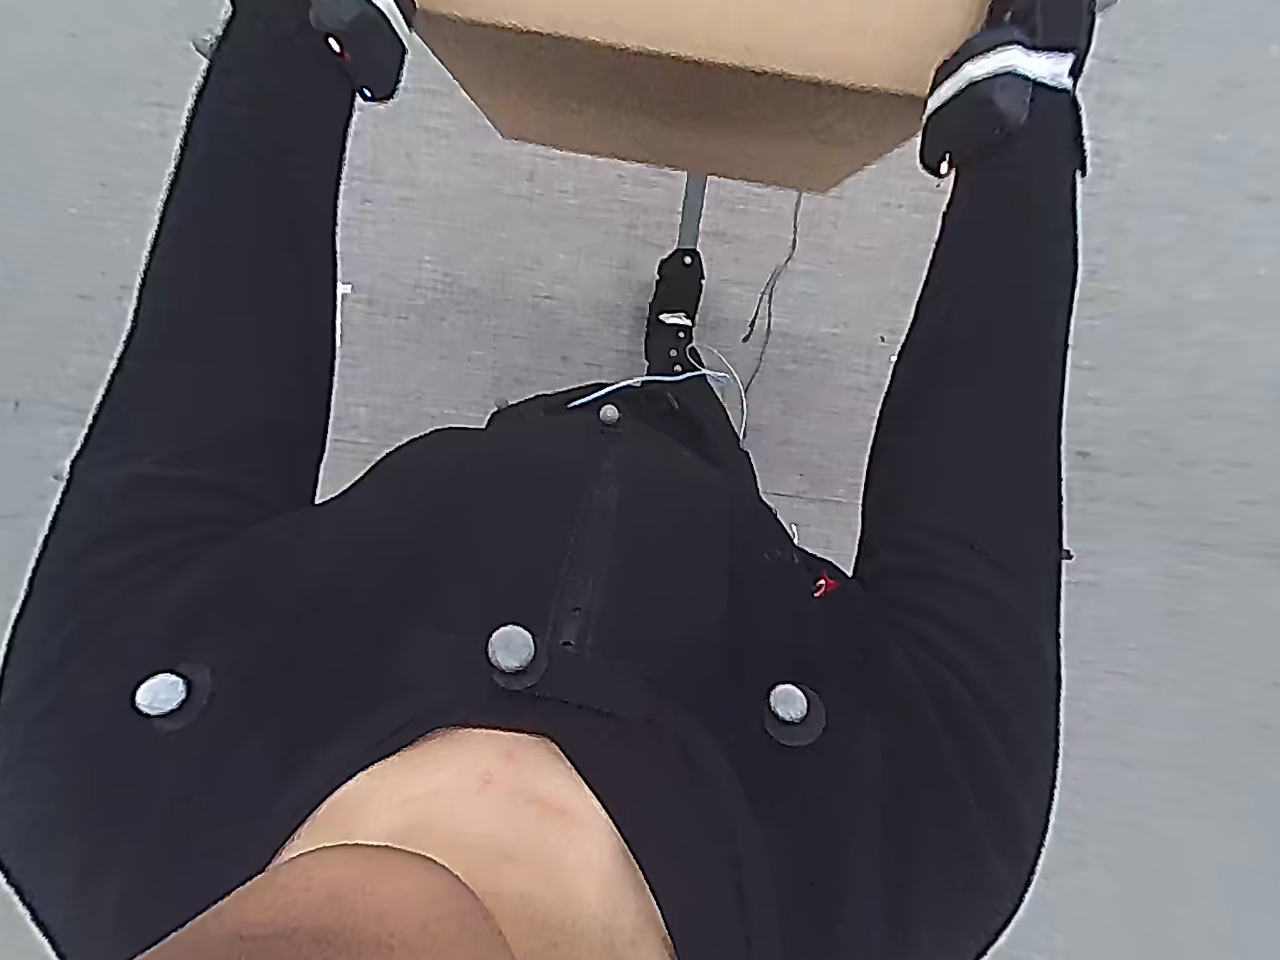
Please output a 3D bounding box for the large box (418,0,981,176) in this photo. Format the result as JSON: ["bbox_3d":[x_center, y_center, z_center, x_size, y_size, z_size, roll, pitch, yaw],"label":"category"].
[{"bbox_3d":[0.052,-0.498,0.478,0.408,0.320,0.320,8,108,-3],"label":"large box"}]
